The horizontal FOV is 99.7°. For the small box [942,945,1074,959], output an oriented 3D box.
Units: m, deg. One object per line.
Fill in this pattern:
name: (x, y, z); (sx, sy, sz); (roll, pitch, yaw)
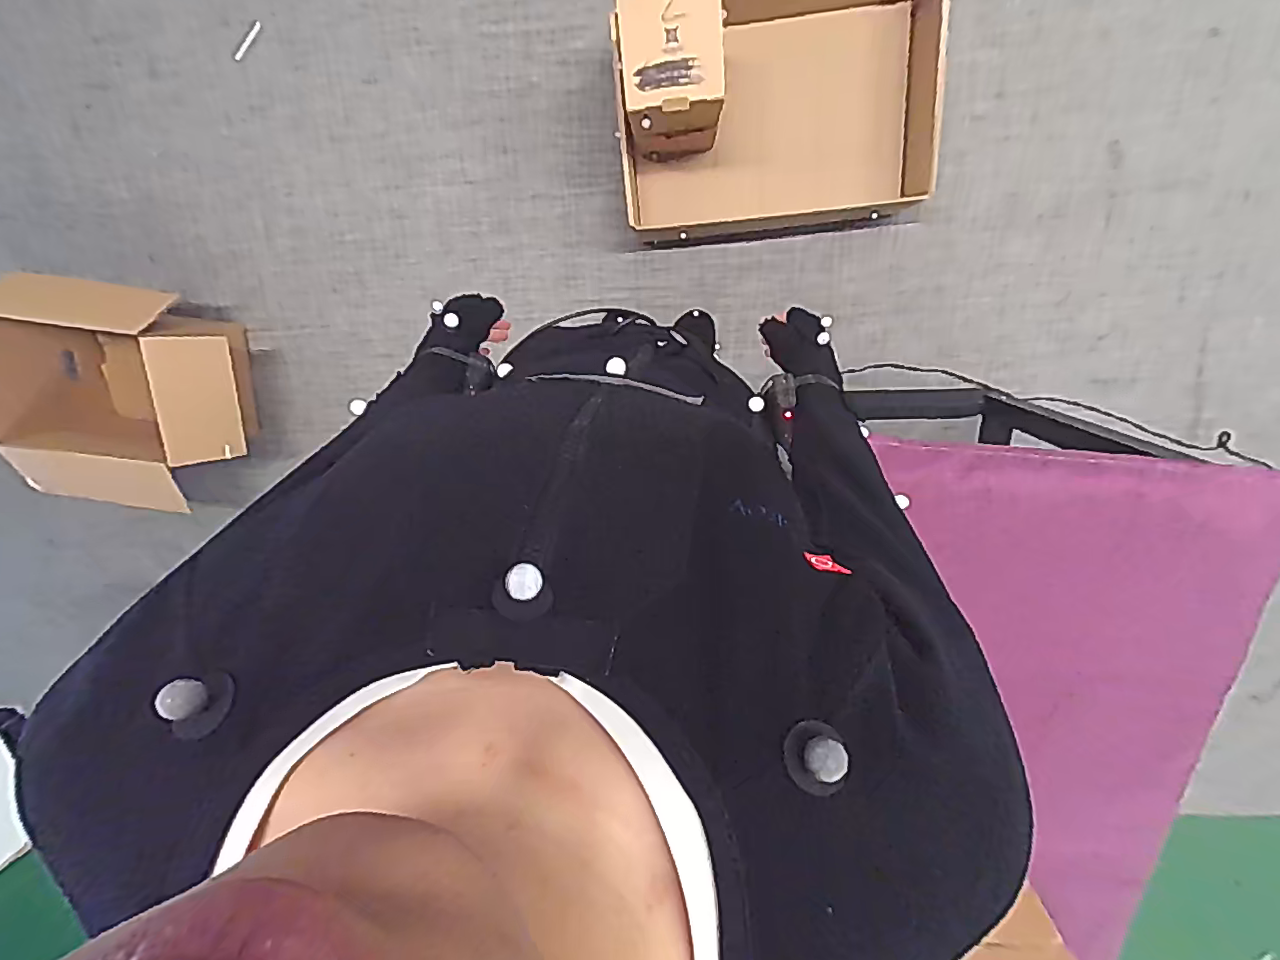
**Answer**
small box: (0.512, 0.751, 0.704); (0.179, 0.176, 0.168); (0, 109, 4)
